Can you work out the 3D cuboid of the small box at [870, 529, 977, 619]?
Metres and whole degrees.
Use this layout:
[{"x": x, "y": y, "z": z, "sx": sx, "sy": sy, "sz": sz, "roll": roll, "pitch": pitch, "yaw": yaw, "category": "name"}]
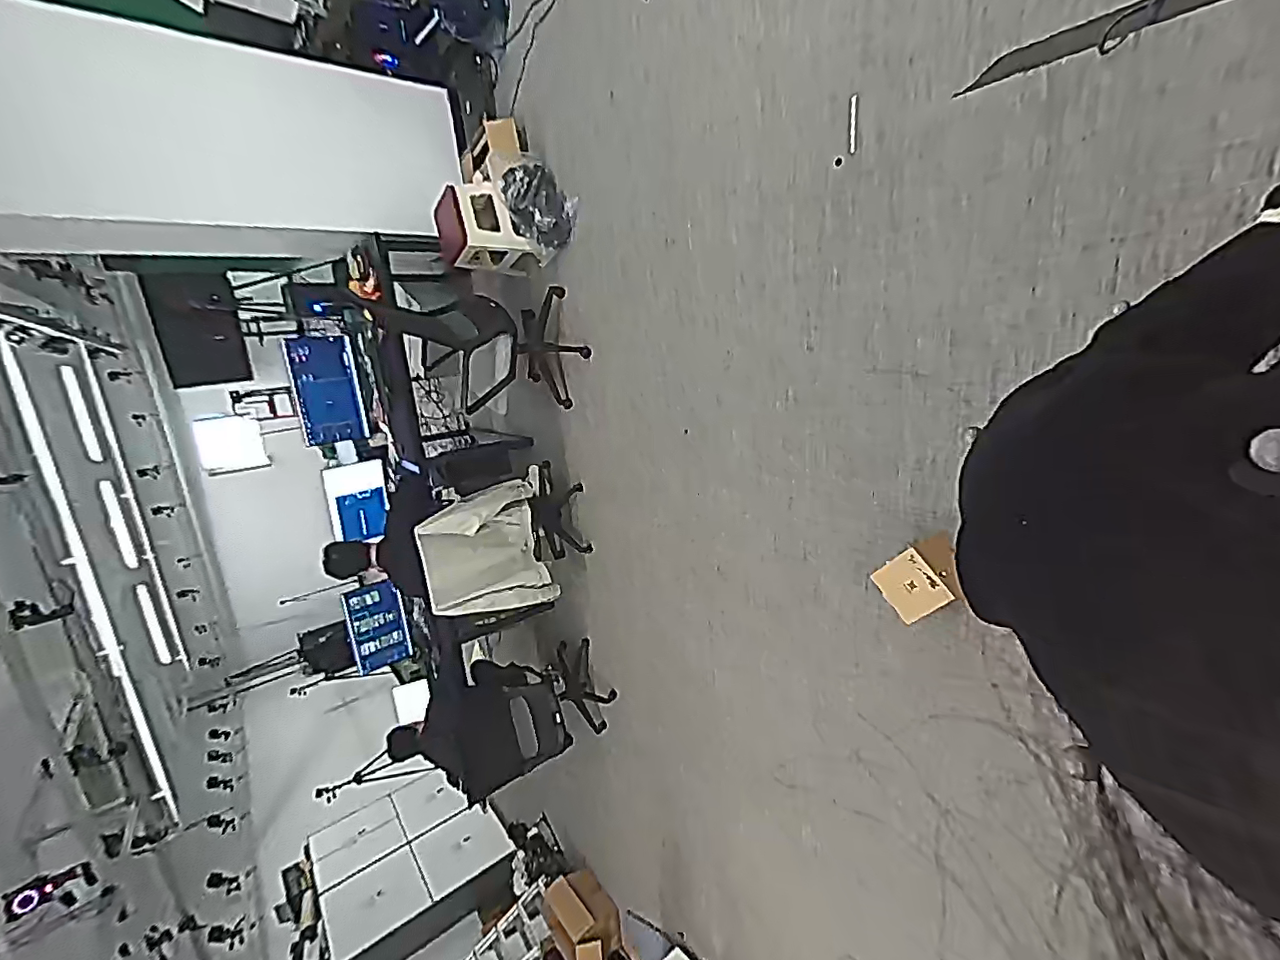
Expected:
[{"x": 0.803, "y": 0.265, "z": 1.531, "sx": 0.168, "sy": 0.176, "sz": 0.179, "roll": 58, "pitch": 142, "yaw": 23, "category": "small box"}]
